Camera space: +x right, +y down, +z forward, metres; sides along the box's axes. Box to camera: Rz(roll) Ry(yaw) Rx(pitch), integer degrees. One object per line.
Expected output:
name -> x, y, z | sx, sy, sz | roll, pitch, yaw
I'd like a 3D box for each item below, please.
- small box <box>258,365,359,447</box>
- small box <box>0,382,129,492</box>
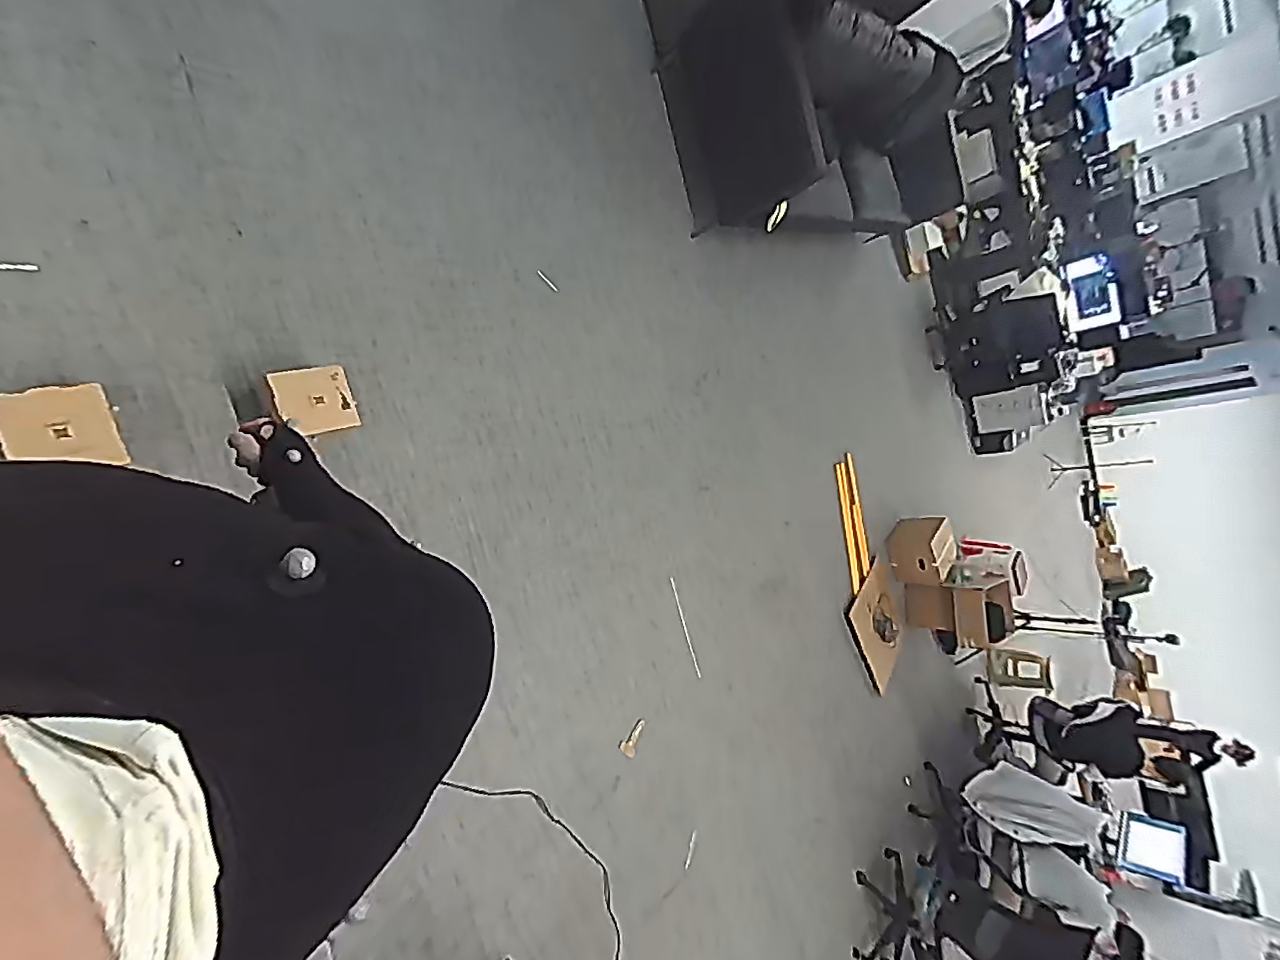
small box -> -0.871, -0.192, 1.412 | 0.179, 0.176, 0.168 | -21, 99, -42
small box -> -1.185, -0.085, 1.105 | 0.168, 0.176, 0.179 | -22, 99, -42
